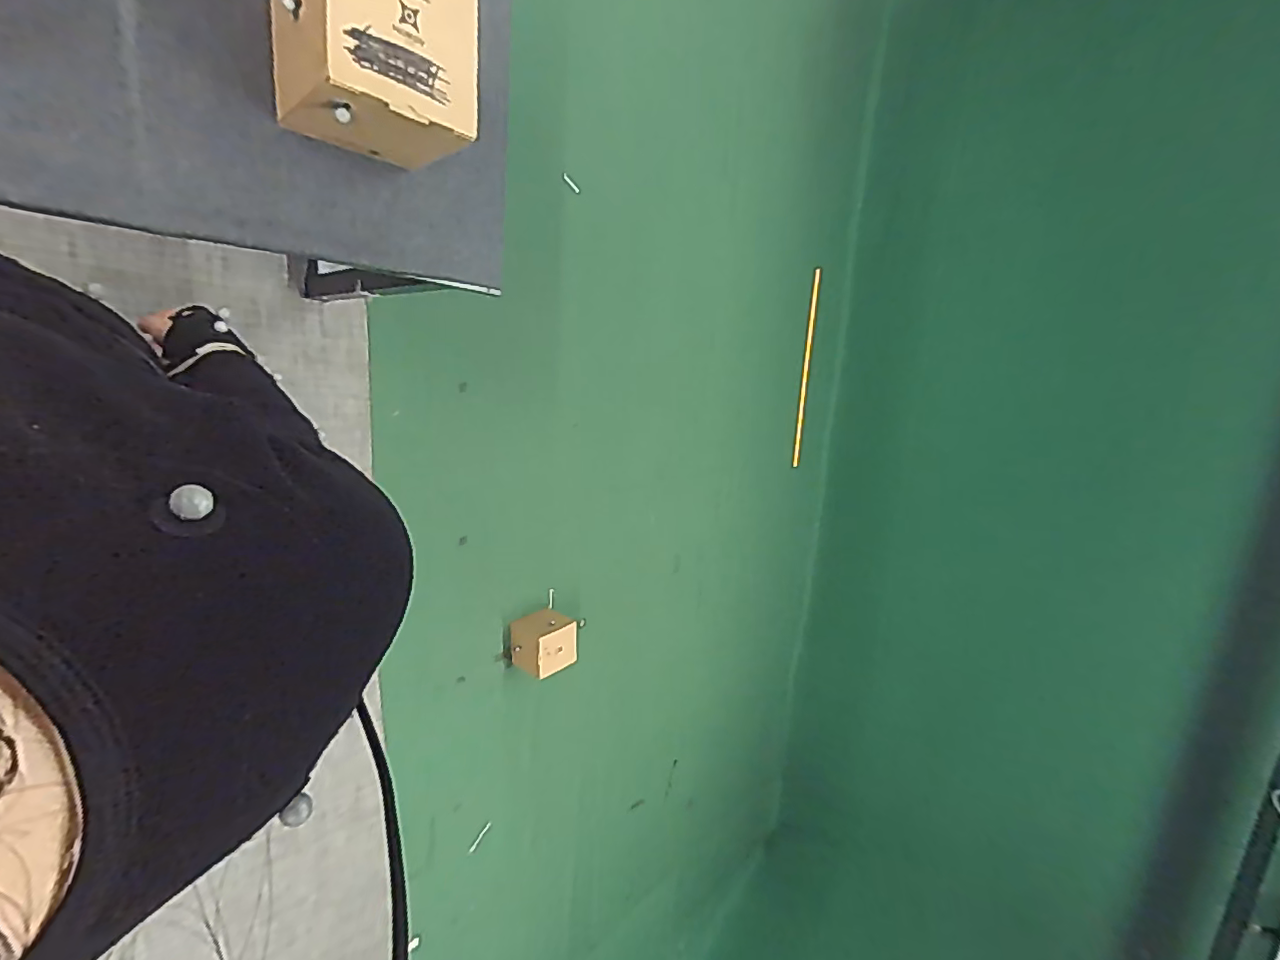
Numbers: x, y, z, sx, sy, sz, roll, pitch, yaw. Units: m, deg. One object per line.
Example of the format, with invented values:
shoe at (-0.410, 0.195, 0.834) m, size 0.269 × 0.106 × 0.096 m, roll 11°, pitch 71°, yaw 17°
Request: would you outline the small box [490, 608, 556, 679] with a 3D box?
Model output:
small box at (-0.430, 0.594, 1.993) m, size 0.179 × 0.176 × 0.168 m, roll -13°, pitch 110°, yaw -49°
